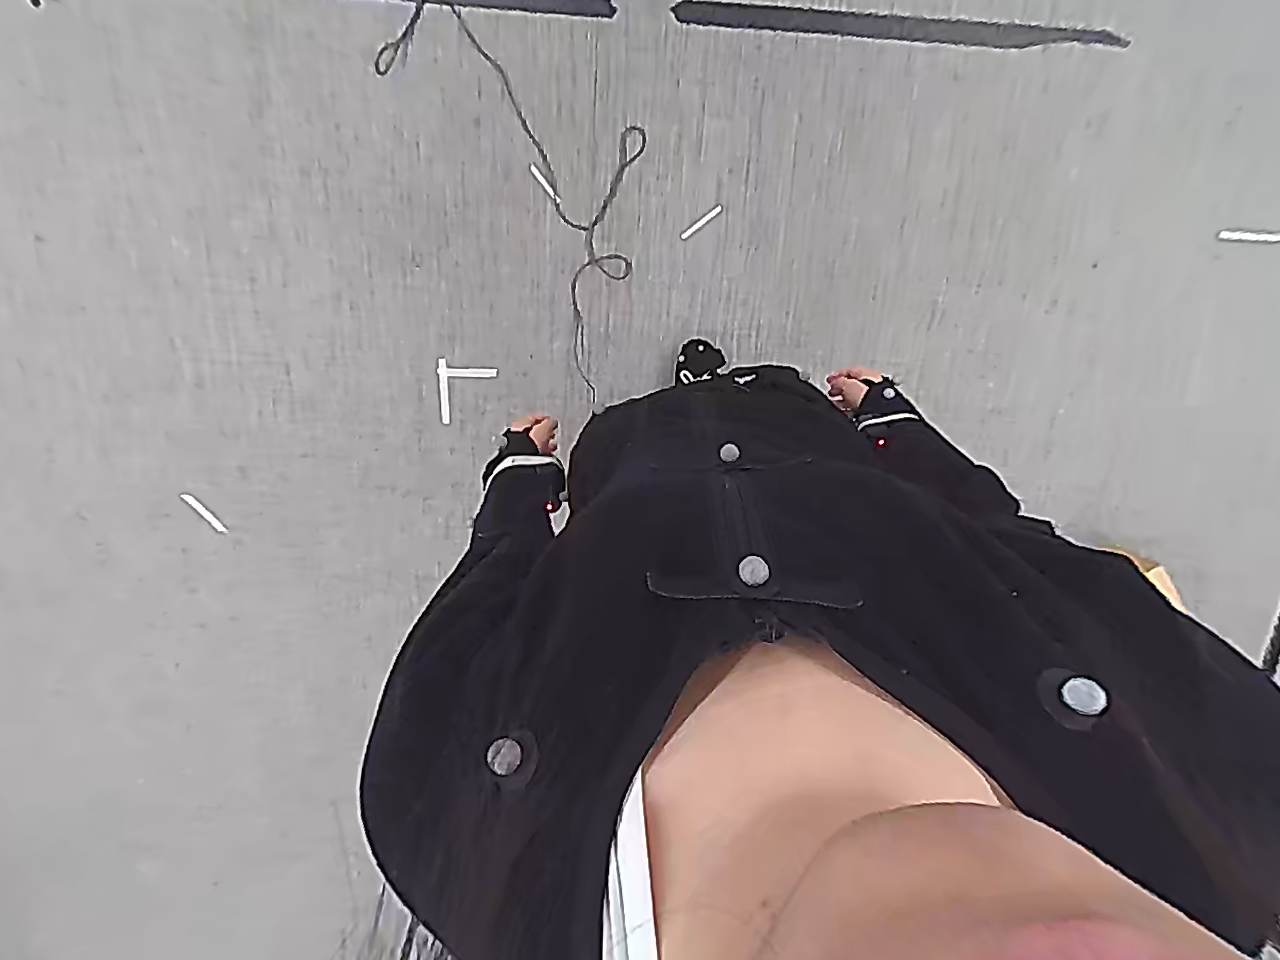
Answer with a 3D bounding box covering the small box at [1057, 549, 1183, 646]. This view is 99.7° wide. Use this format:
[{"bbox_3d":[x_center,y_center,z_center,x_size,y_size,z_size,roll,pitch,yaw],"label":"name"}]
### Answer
[{"bbox_3d":[1.294,0.308,1.473,0.168,0.176,0.179,-33,102,9],"label":"small box"}]
